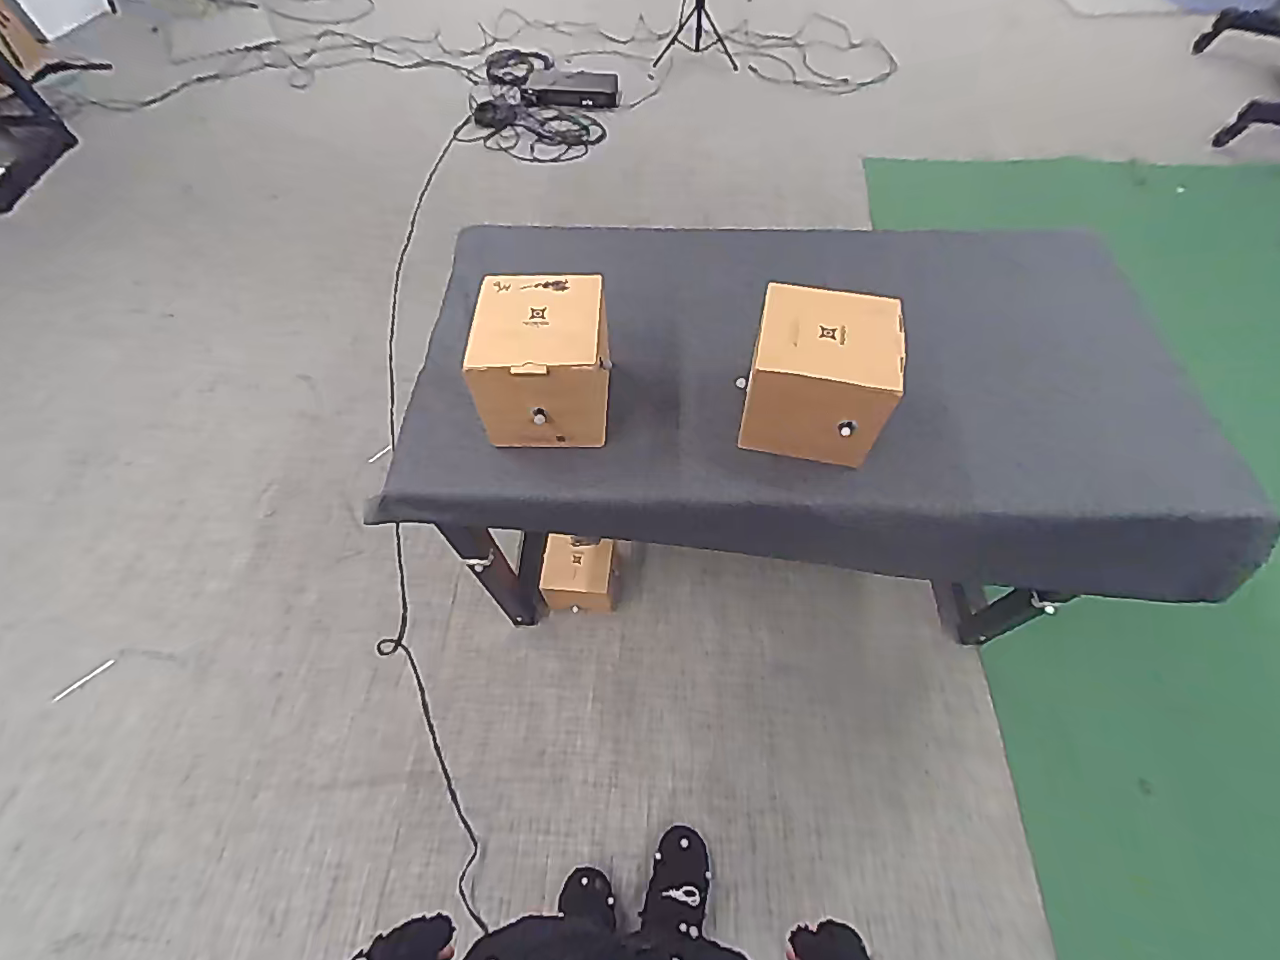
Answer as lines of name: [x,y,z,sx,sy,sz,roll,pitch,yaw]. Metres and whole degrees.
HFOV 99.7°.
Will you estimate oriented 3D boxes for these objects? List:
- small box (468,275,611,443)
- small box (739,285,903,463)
small box: [-0.129,-0.167,0.773,0.168,0.176,0.179,0,58,0]
small box: [0.244,-0.142,0.756,0.179,0.176,0.168,10,58,8]
